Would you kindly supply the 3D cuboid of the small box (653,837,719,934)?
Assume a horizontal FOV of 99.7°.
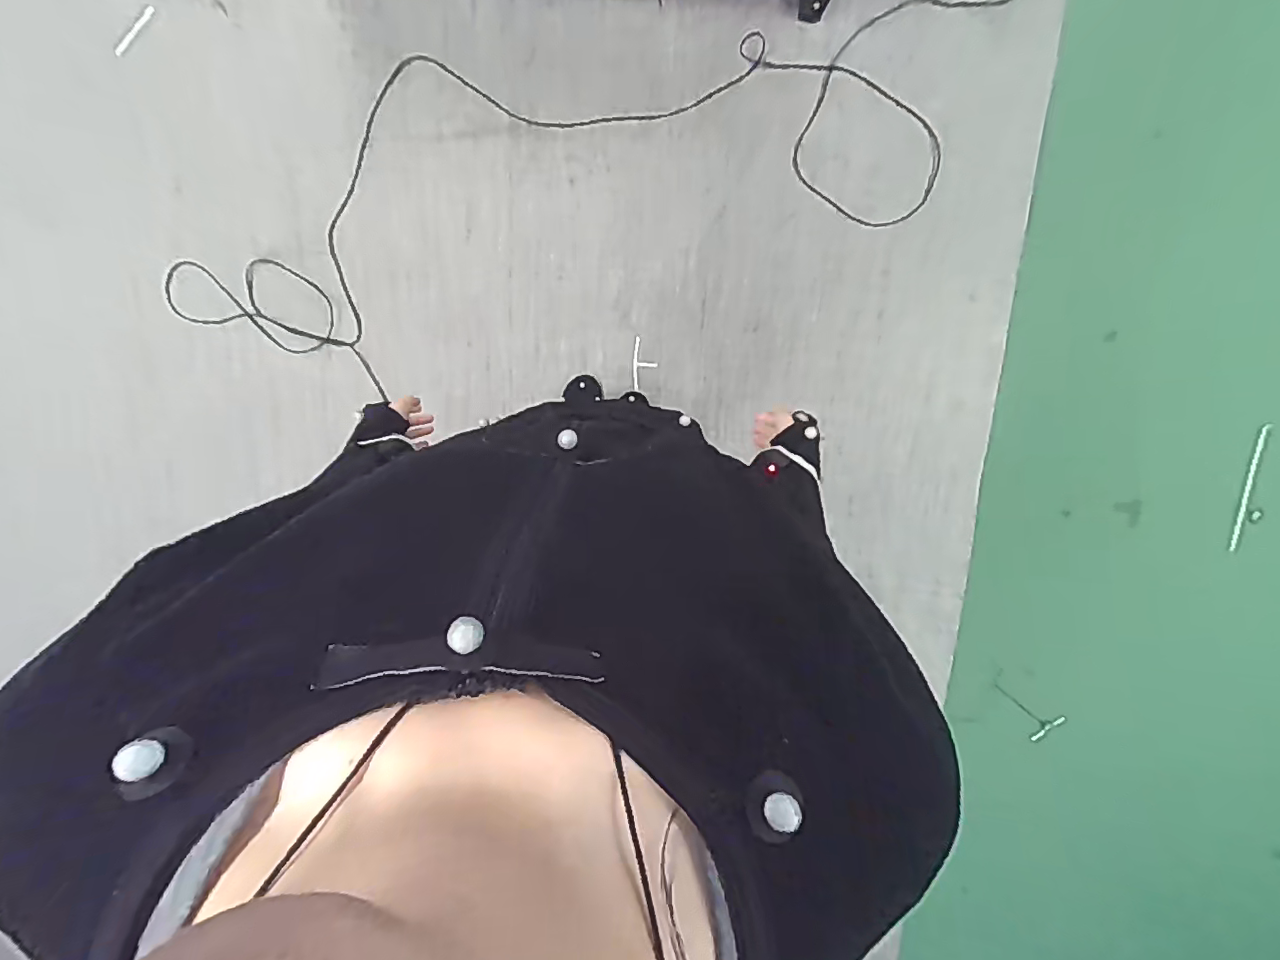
[{"bbox_3d":[0.132,1.212,1.625,0.179,0.176,0.168,0,101,-5],"label":"small box"}]
